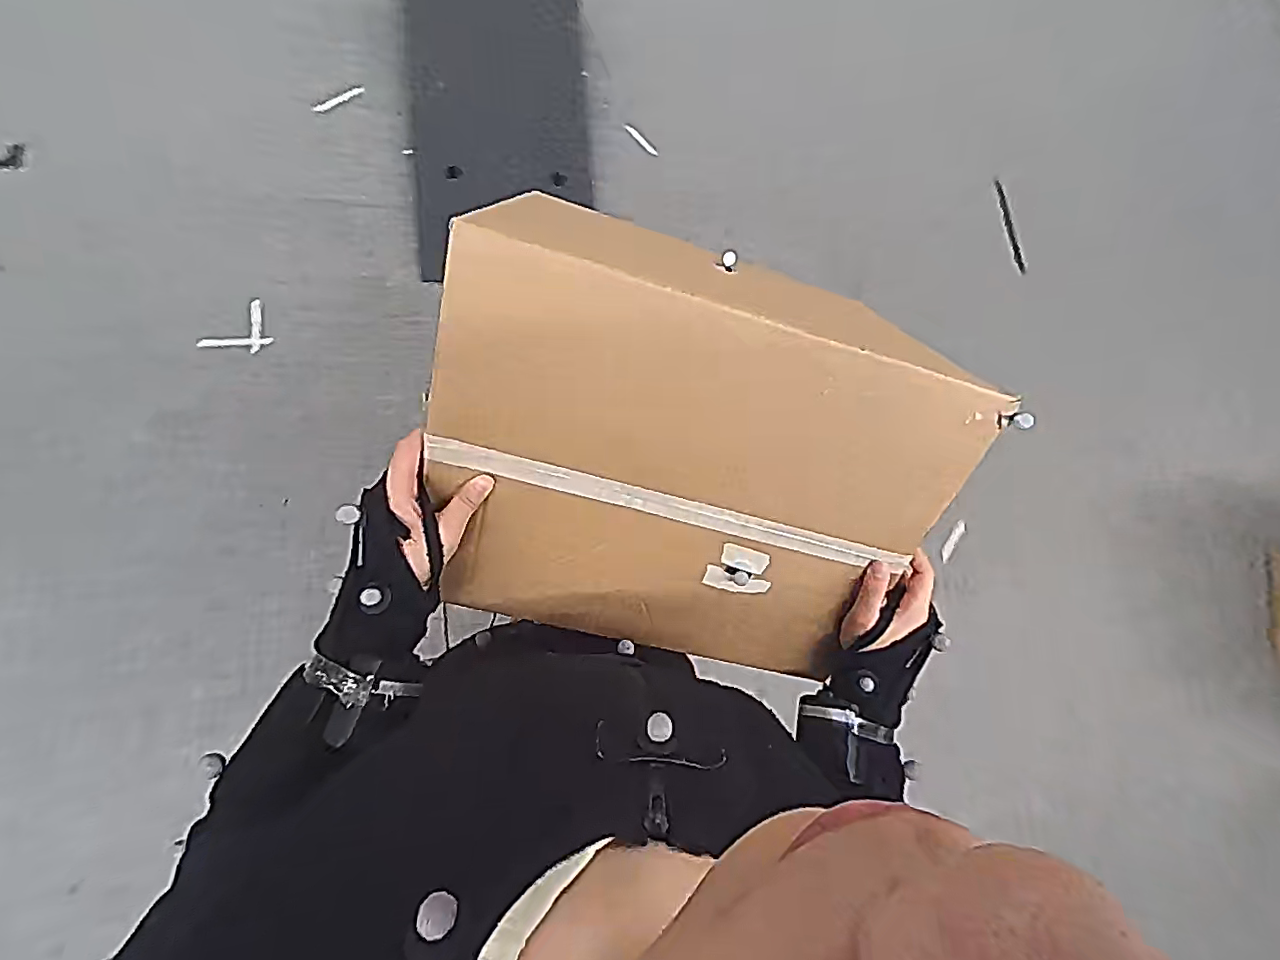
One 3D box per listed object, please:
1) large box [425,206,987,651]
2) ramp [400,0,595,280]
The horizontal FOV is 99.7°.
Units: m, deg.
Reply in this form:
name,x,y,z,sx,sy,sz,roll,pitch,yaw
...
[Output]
name,x,y,z,sx,sy,sz,roll,pitch,yaw
large box,0.025,-0.065,0.572,0.408,0.320,0.320,12,121,-10
ramp,-0.389,-1.054,1.511,0.509,0.206,0.991,-6,81,-16
